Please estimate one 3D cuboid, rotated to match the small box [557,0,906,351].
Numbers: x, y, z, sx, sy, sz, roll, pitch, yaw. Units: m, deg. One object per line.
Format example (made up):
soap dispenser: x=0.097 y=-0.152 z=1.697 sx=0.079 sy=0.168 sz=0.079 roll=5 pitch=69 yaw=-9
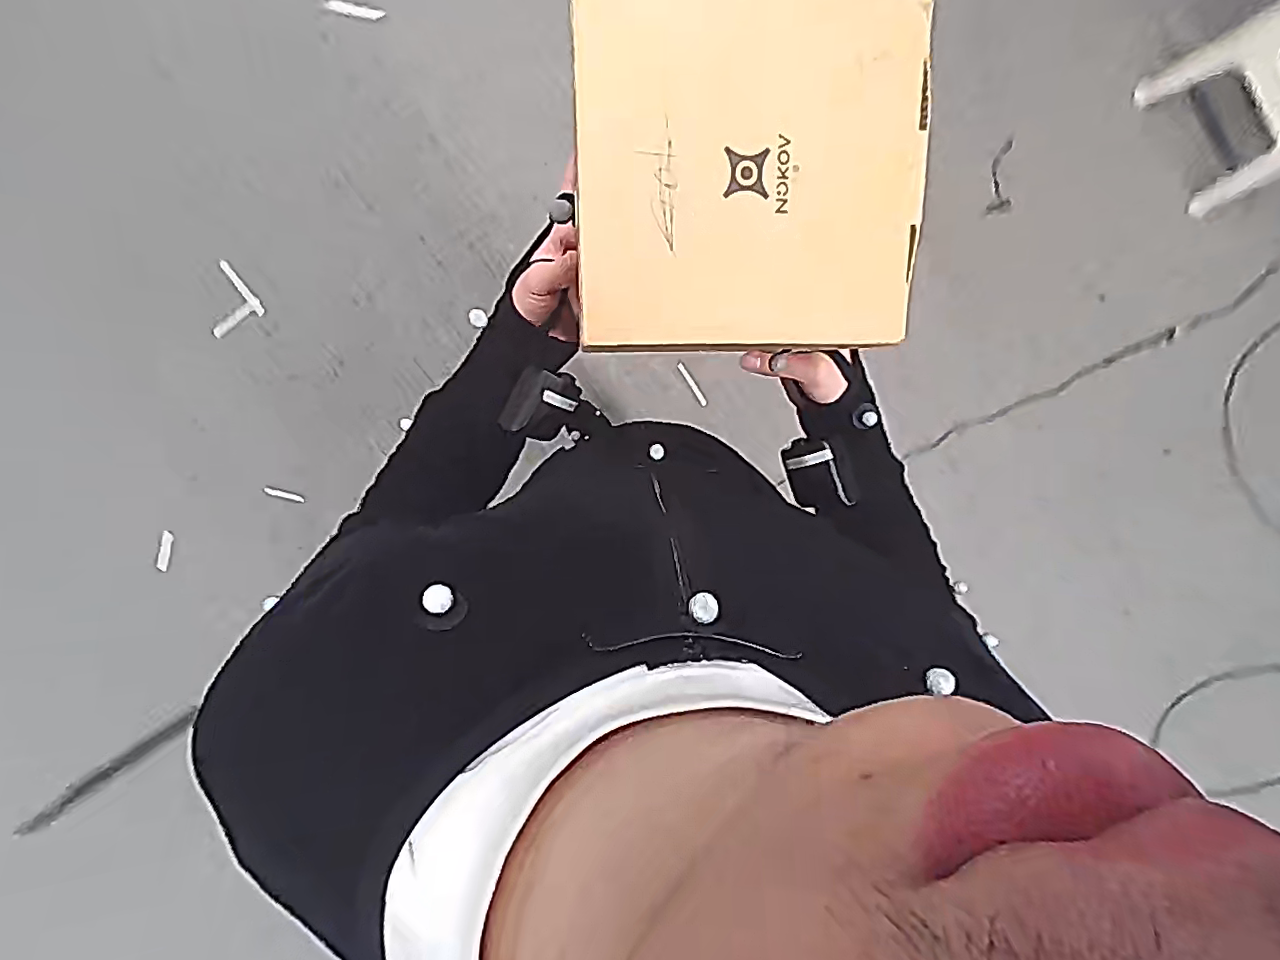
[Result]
small box: x=0.039 y=-0.173 z=0.353 sx=0.179 sy=0.176 sz=0.168 roll=-3 pitch=102 yaw=-5
